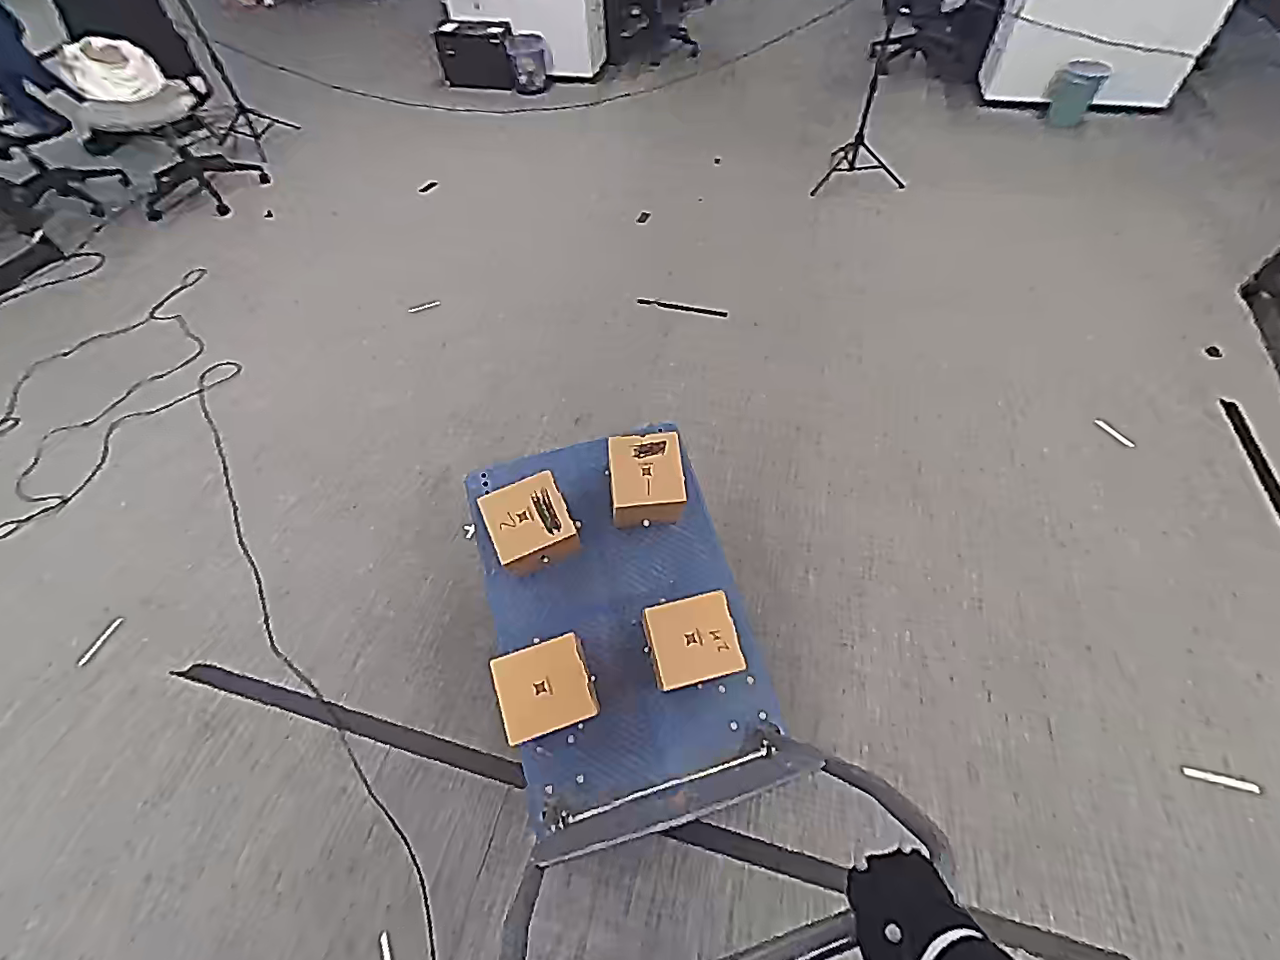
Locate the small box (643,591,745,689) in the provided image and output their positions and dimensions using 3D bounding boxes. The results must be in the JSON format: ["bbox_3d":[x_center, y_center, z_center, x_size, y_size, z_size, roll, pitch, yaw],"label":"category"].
[{"bbox_3d":[0.108,0.353,1.176,0.179,0.176,0.168,-12,70,-7],"label":"small box"}]

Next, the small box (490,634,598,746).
[{"bbox_3d":[-0.194,0.438,1.131,0.179,0.176,0.168,-17,70,-10],"label":"small box"}]

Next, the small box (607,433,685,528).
[{"bbox_3d":[0.009,0.004,1.308,0.168,0.176,0.179,-5,70,-4],"label":"small box"}]
